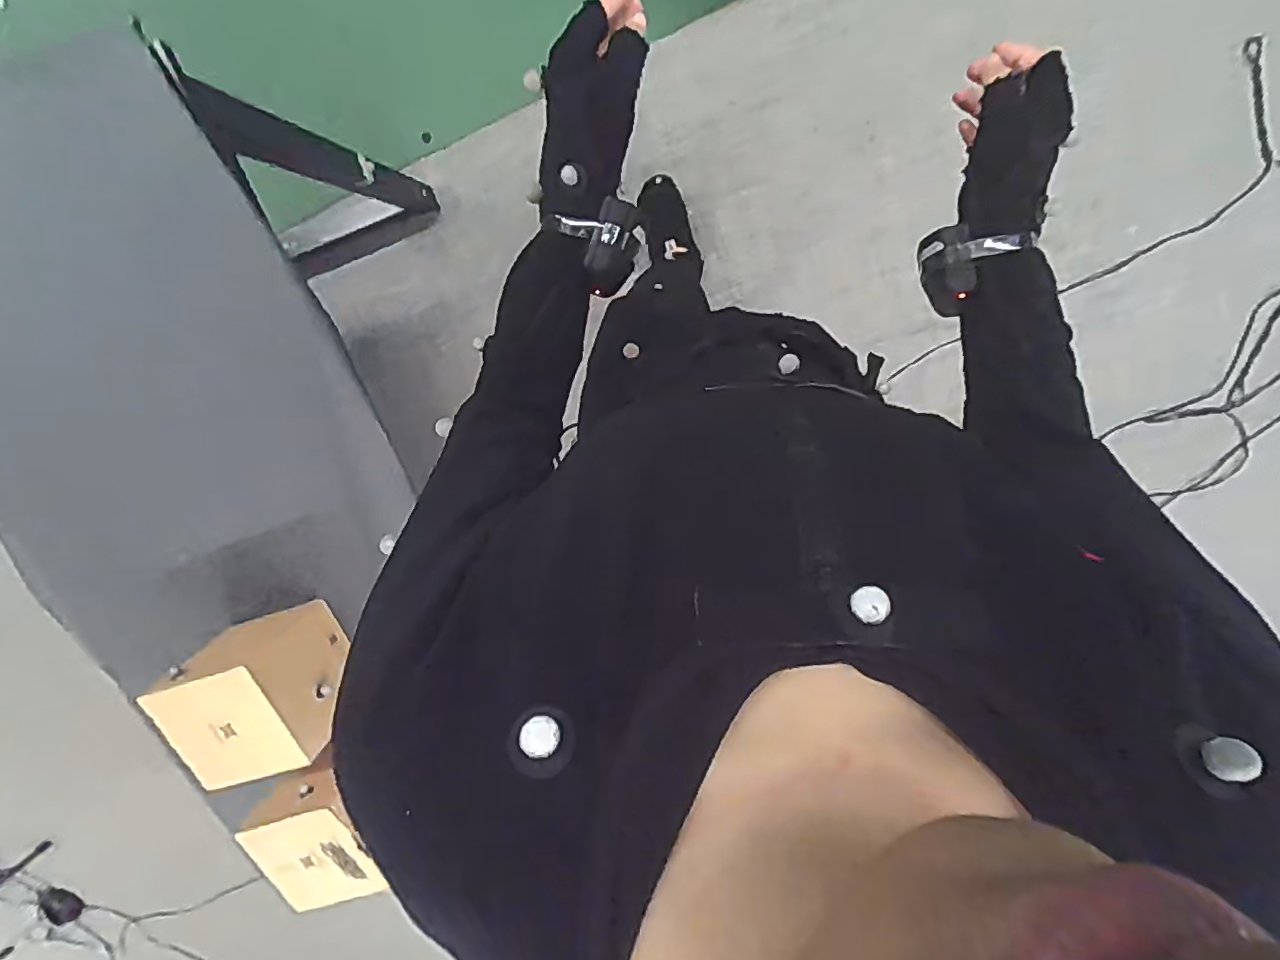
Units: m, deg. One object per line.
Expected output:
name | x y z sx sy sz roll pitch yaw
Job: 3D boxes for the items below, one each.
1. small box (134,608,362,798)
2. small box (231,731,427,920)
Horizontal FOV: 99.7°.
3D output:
small box | -0.537 0.309 0.776 0.179 0.176 0.168 -19 106 10
small box | -0.460 0.524 0.838 0.179 0.176 0.168 -21 105 11
